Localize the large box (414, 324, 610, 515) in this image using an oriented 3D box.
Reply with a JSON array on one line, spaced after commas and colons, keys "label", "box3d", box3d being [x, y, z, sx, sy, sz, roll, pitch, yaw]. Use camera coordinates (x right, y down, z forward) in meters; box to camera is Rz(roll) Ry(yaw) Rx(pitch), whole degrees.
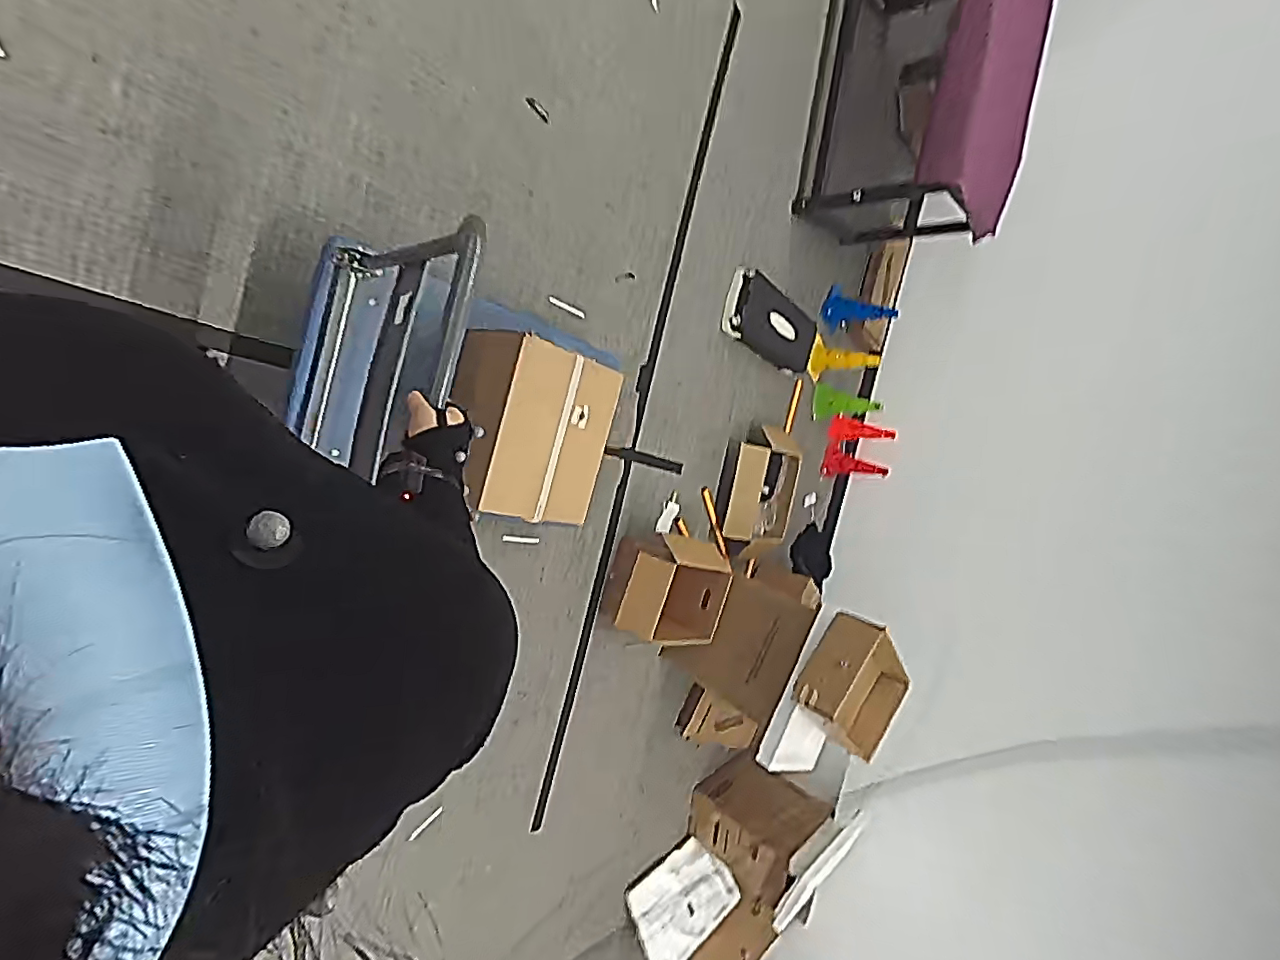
[{"label": "large box", "box3d": [-0.330, -0.149, 1.379, 0.320, 0.320, 0.408, 14, 91, -48]}]
